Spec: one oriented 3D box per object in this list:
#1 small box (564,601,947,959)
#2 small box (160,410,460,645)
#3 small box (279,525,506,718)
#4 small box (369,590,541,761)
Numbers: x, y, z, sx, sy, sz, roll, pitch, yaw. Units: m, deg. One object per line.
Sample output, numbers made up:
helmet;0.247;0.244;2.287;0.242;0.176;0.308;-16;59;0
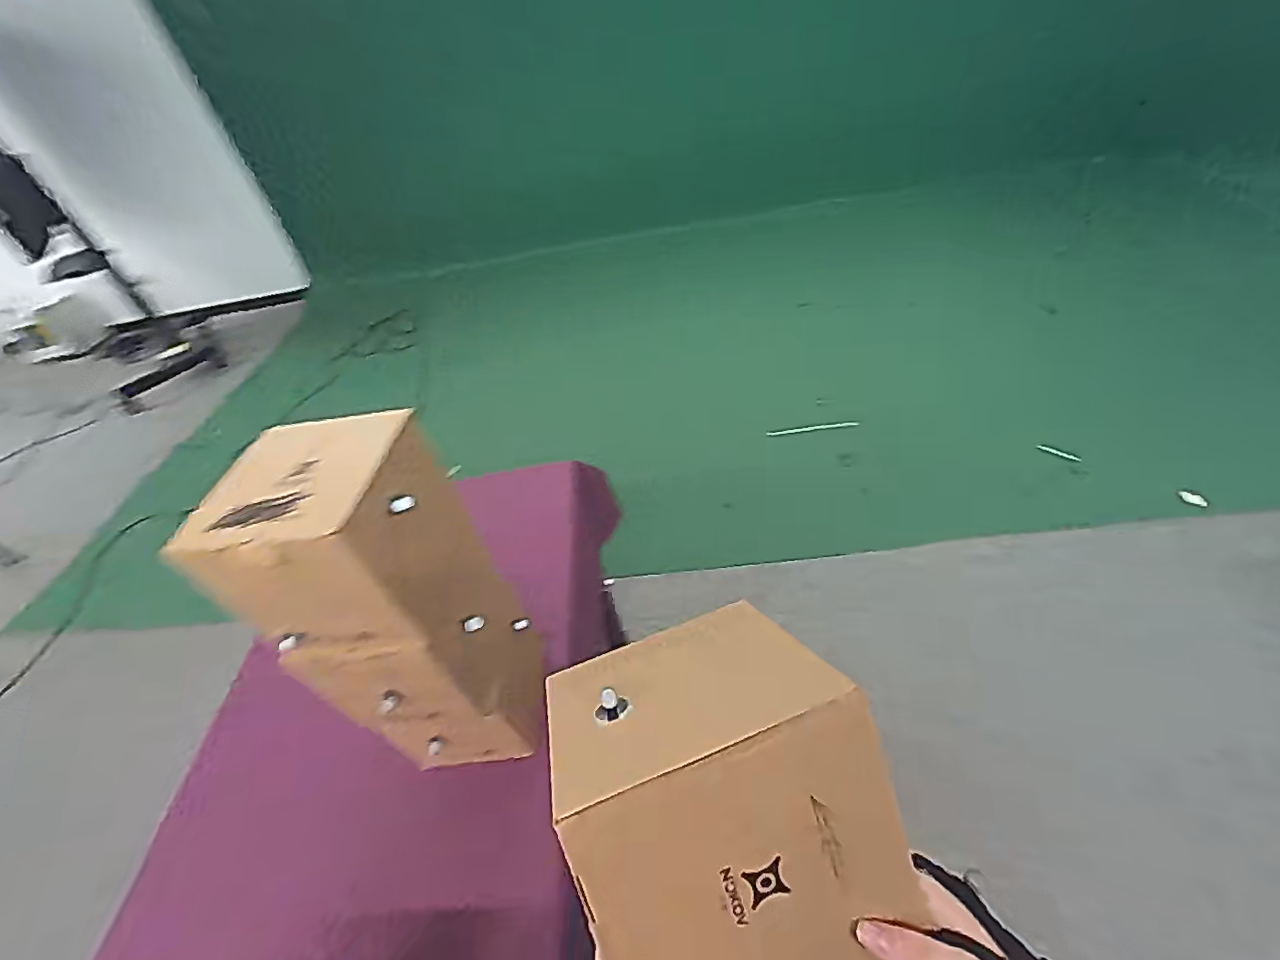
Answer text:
small box;0.056;0.204;0.362;0.179;0.168;0.176;-19;8;-7
small box;-0.308;0.056;0.555;0.168;0.176;0.179;-7;43;8
small box;-0.279;0.178;0.663;0.168;0.176;0.179;-7;44;8
small box;-0.249;0.288;0.781;0.168;0.176;0.179;-10;43;5
